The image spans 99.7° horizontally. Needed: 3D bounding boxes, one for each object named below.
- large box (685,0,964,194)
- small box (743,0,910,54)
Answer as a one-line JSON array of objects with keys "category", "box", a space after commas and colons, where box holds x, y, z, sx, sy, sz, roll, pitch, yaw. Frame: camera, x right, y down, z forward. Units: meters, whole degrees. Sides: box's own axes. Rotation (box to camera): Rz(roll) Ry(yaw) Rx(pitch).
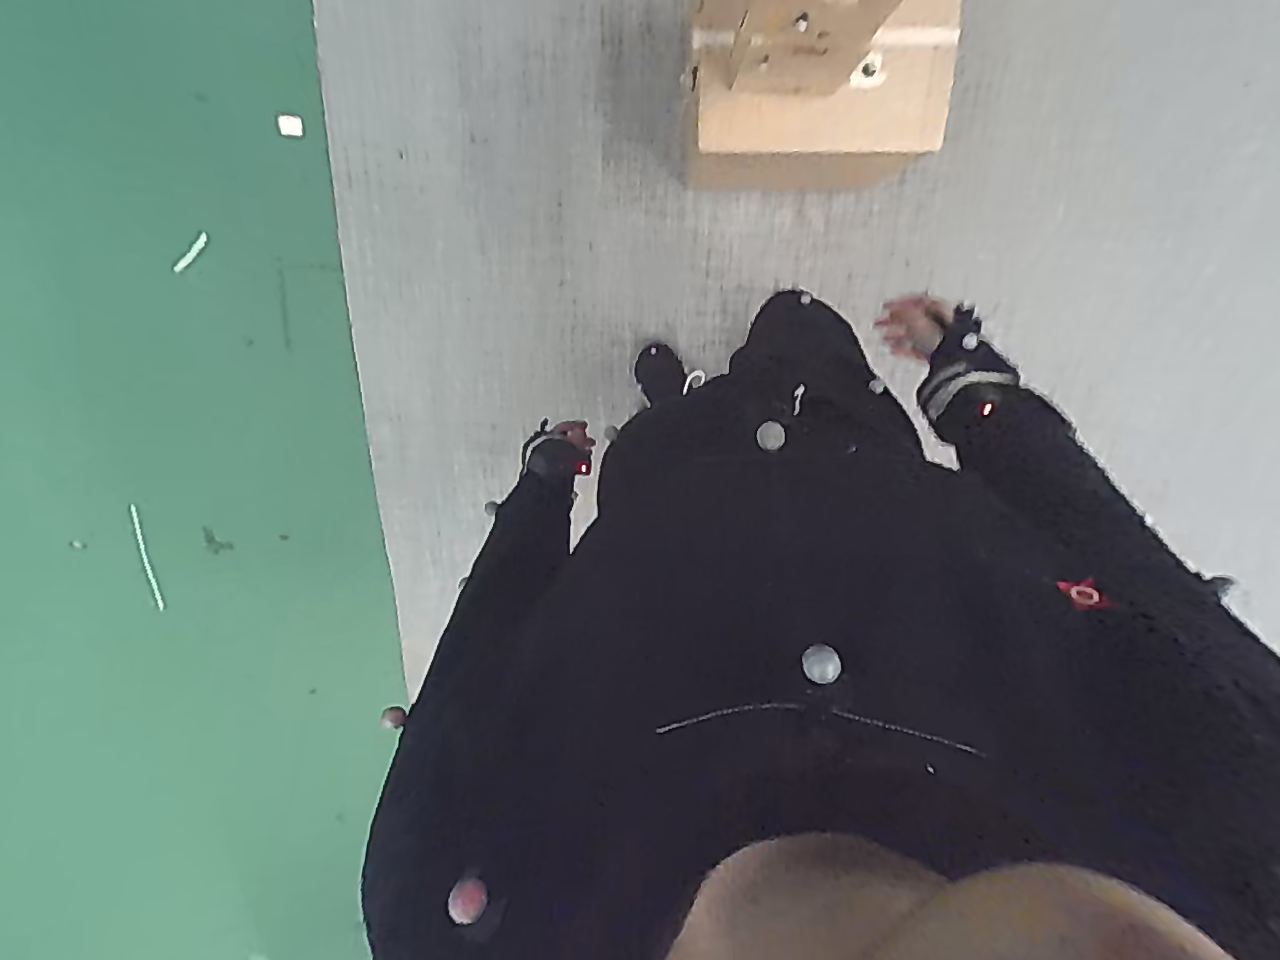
[{"category": "large box", "box": [0.294, -0.725, 0.985, 0.408, 0.320, 0.320, 0, 108, -1]}, {"category": "small box", "box": [0.217, -0.616, 0.594, 0.168, 0.176, 0.179, 5, 108, -2]}]
